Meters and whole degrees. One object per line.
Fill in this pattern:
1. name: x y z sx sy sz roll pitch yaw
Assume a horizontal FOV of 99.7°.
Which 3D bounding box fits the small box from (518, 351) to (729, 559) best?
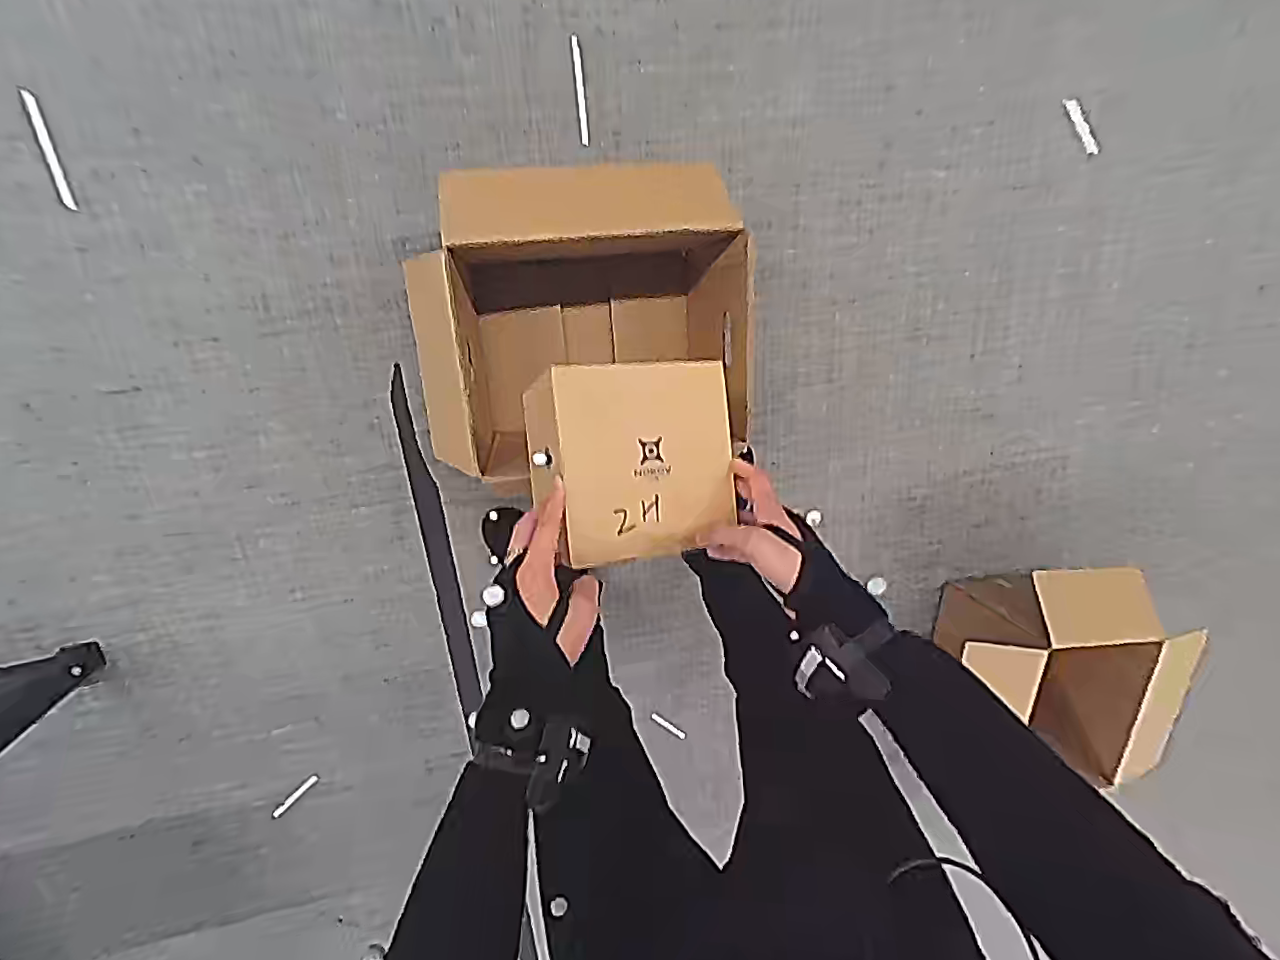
1. small box: -0.027 -0.027 0.557 0.168 0.176 0.179 -7 94 -19
